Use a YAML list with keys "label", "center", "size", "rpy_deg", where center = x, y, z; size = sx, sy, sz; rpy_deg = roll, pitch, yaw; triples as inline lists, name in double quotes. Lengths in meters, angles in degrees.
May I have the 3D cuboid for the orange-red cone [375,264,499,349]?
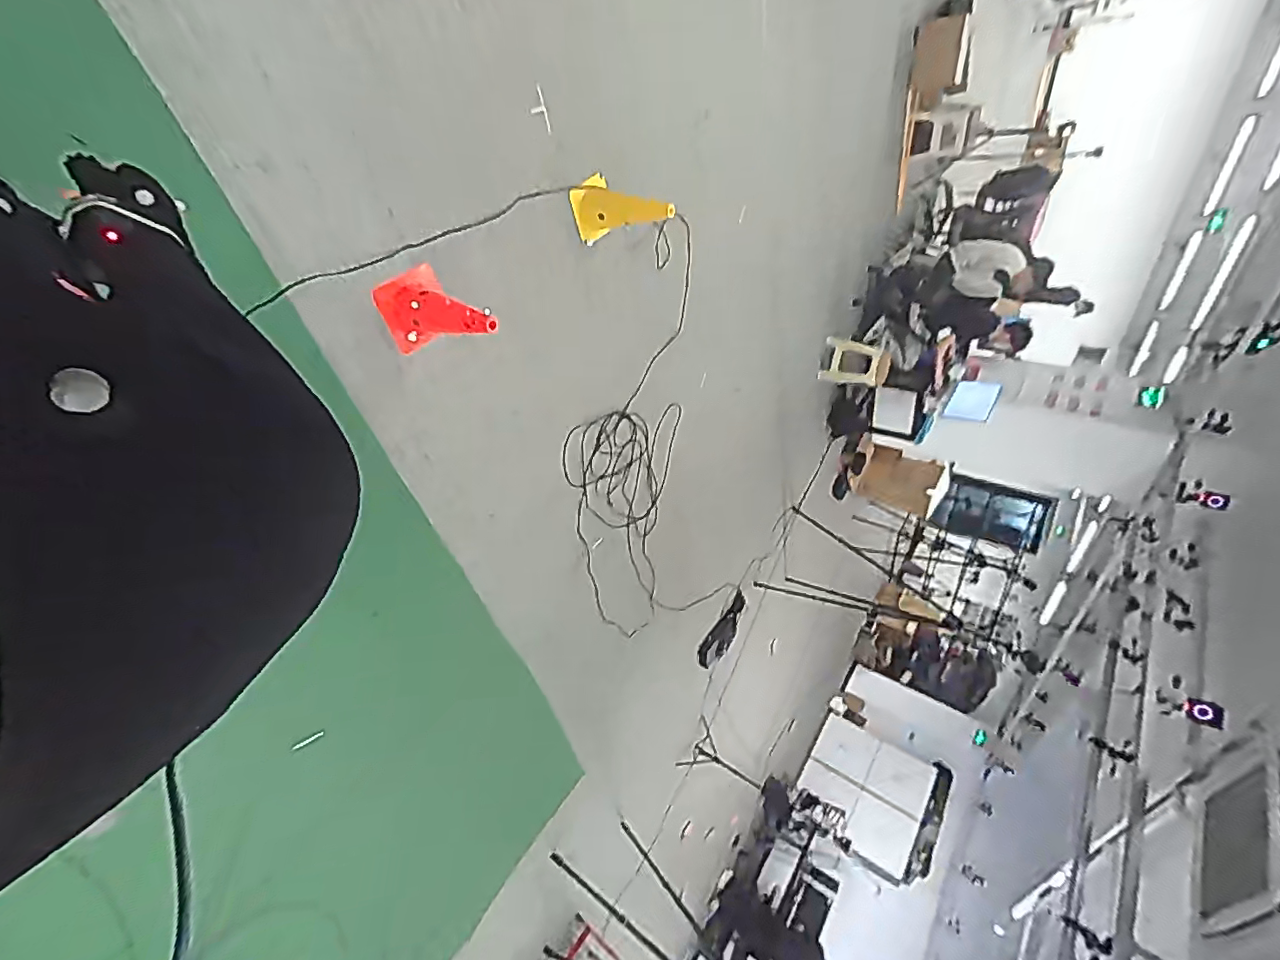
- label: "orange-red cone"
  center: [-0.513, -0.453, 1.473]
  size: [0.199, 0.360, 0.198]
  rpy_deg: [-47, 141, -33]
